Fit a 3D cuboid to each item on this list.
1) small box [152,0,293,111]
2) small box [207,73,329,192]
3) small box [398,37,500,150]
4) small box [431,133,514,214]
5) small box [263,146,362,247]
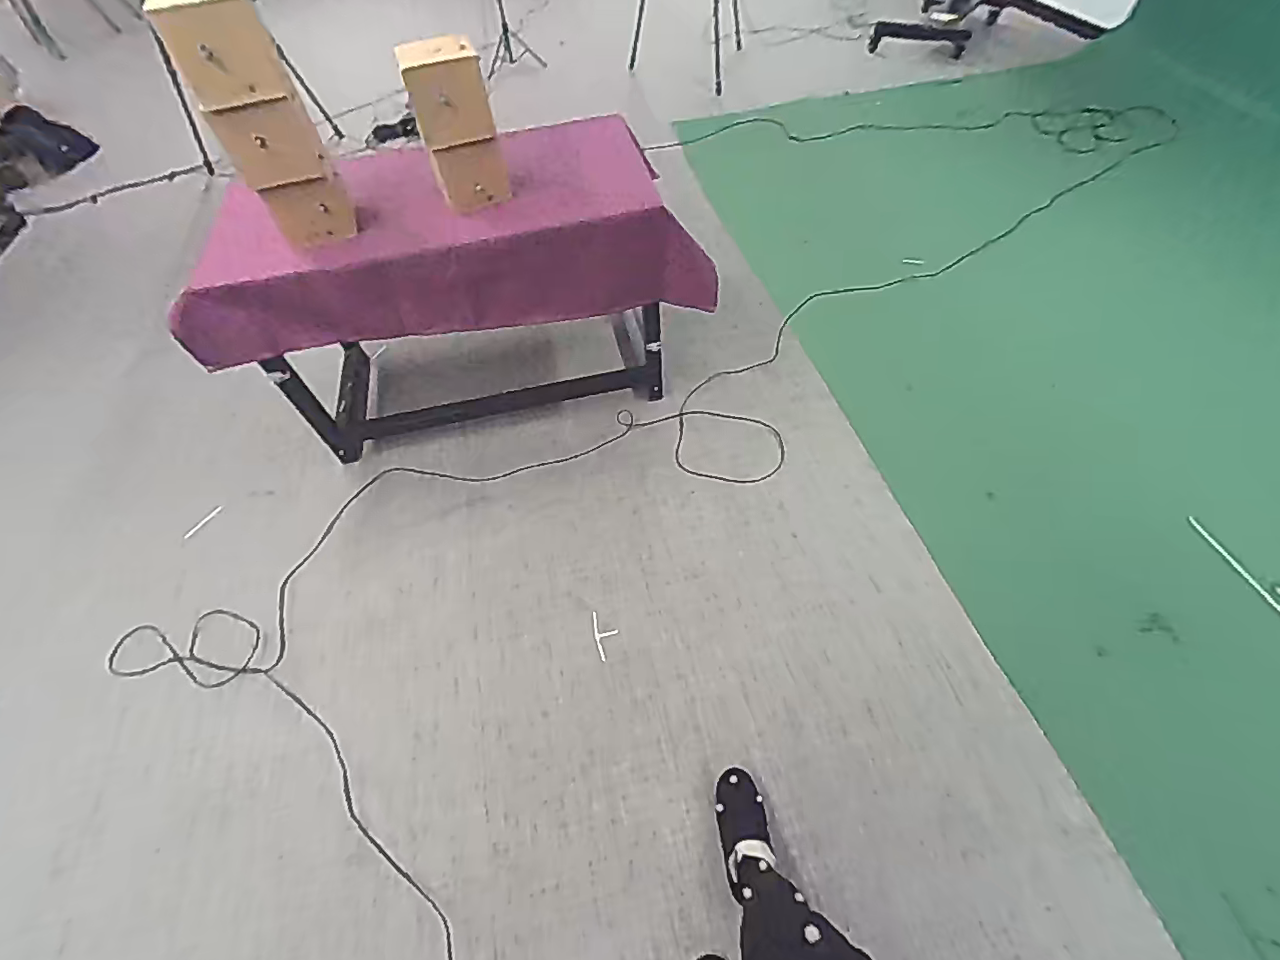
[{"bbox_3d":[-0.841,-0.885,1.108,0.168,0.176,0.179,-21,55,-11],"label":"small box"},{"bbox_3d":[-0.843,-0.797,1.246,0.179,0.176,0.168,-18,55,-9],"label":"small box"},{"bbox_3d":[-0.456,-0.926,1.302,0.179,0.176,0.168,-19,56,-8],"label":"small box"},{"bbox_3d":[-0.454,-0.845,1.446,0.168,0.176,0.179,-23,56,-11],"label":"small box"},{"bbox_3d":[-0.837,-0.723,1.394,0.168,0.176,0.179,-17,54,-9],"label":"small box"}]
